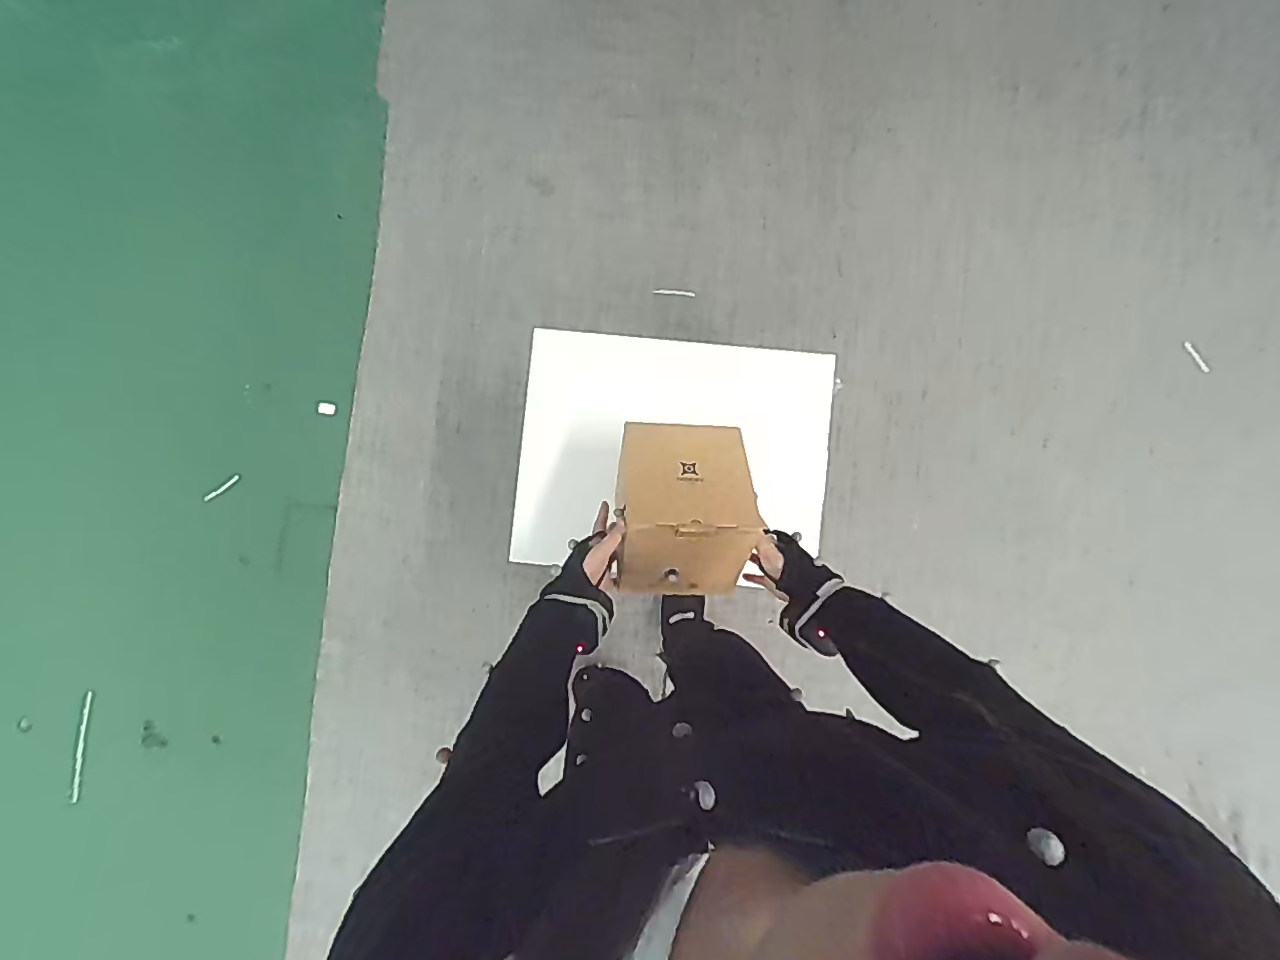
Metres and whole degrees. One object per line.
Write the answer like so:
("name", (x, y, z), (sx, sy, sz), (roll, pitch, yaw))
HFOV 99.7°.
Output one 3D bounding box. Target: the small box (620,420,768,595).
("small box", (0.060, 0.038, 0.744), (0.168, 0.176, 0.179), (1, 49, -5))
